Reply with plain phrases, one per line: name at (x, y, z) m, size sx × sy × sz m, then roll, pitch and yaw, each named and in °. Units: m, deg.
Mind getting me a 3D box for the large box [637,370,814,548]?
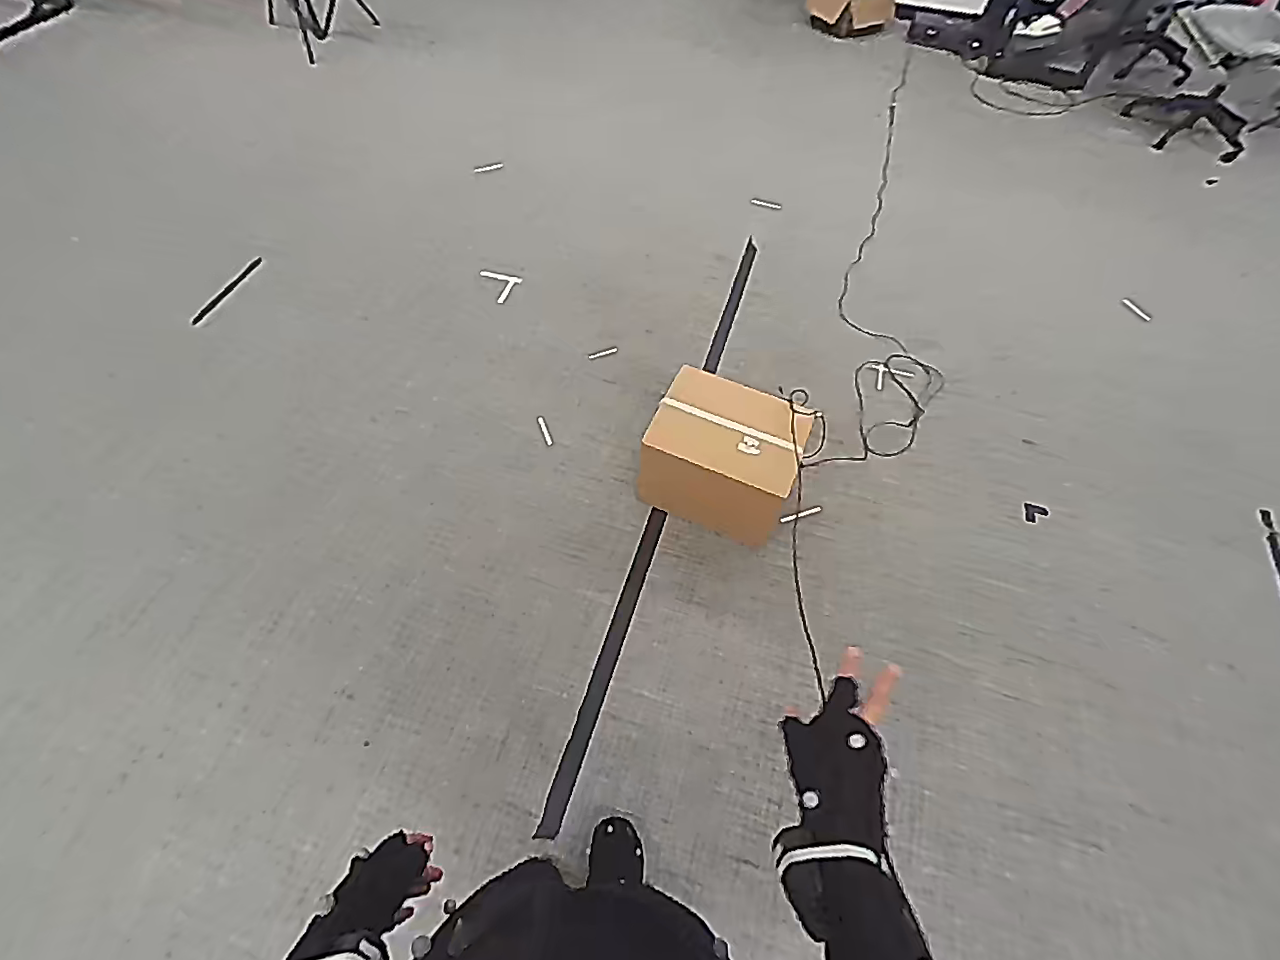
large box at (0.237, -0.059, 1.594) m, size 0.408 × 0.320 × 0.320 m, roll 23°, pitch 60°, yaw 10°
